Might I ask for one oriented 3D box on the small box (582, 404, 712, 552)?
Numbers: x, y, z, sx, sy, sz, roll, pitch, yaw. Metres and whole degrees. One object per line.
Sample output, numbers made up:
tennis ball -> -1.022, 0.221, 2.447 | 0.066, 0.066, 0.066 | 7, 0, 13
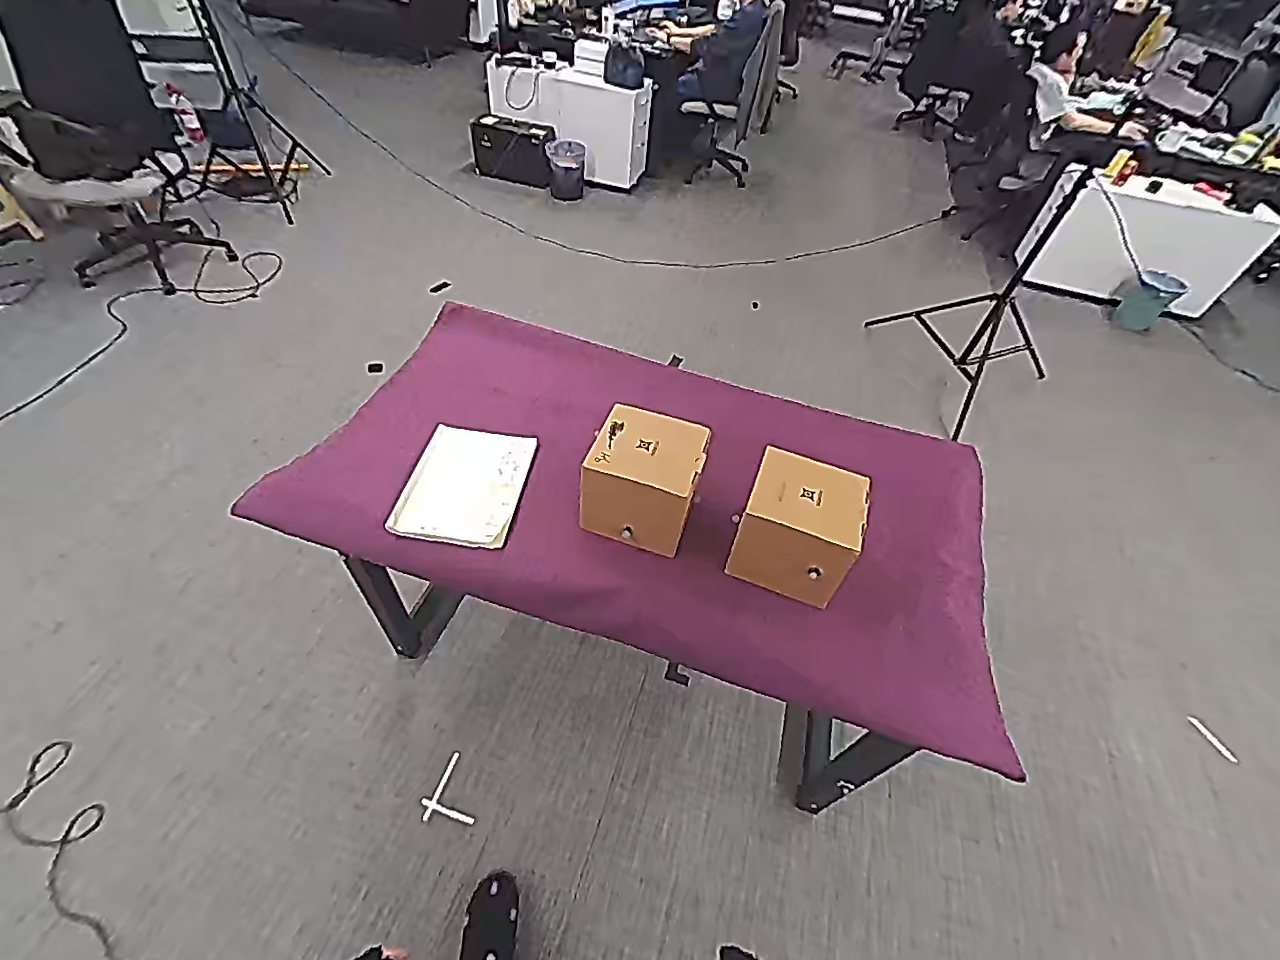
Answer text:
small box -> 0.009, 0.001, 0.938 | 0.179, 0.176, 0.168 | 17, 48, 8

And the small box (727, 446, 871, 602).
small box -> 0.261, 0.077, 0.901 | 0.179, 0.176, 0.168 | 18, 46, 12
